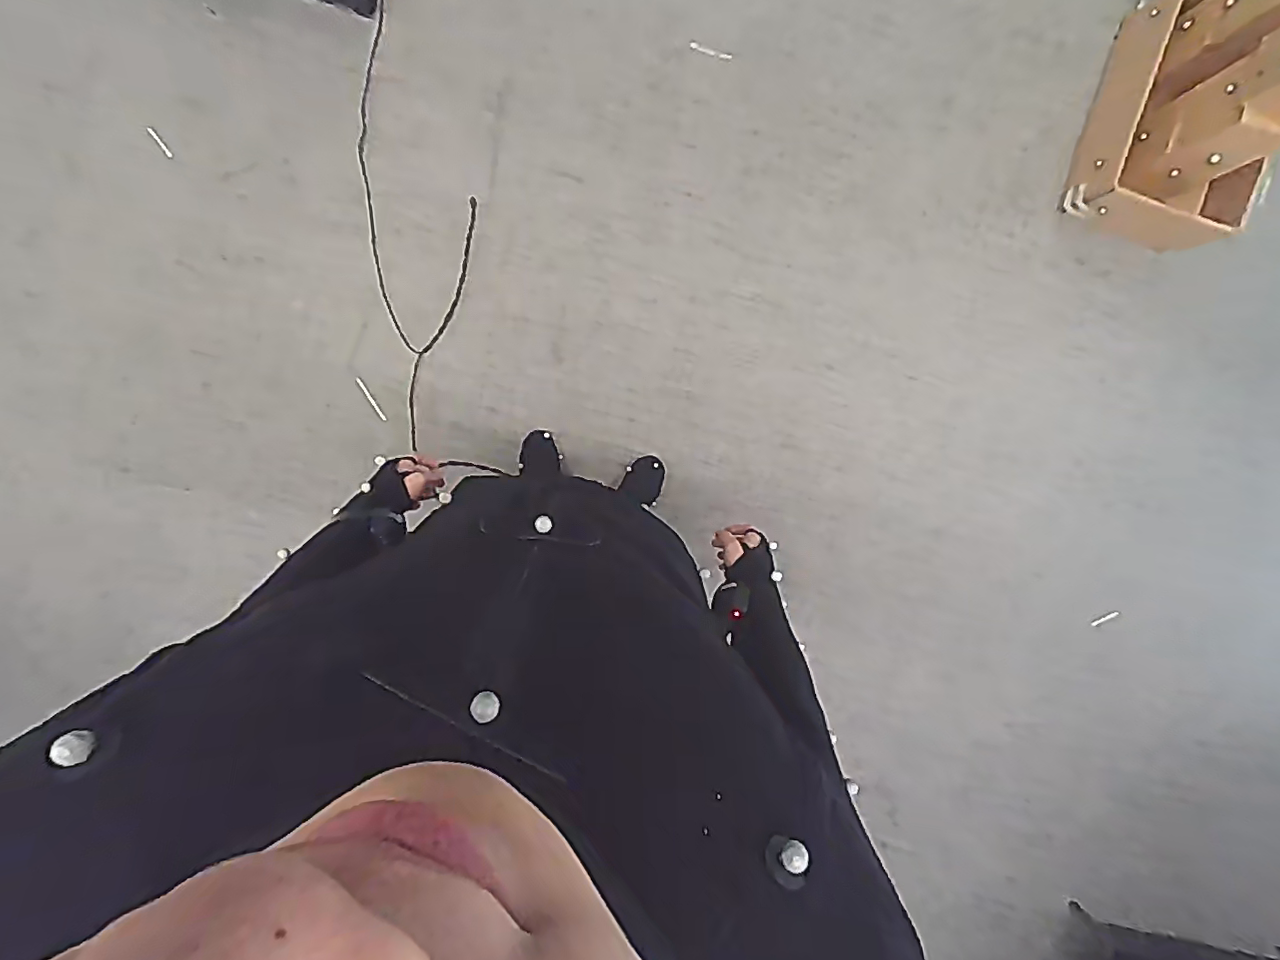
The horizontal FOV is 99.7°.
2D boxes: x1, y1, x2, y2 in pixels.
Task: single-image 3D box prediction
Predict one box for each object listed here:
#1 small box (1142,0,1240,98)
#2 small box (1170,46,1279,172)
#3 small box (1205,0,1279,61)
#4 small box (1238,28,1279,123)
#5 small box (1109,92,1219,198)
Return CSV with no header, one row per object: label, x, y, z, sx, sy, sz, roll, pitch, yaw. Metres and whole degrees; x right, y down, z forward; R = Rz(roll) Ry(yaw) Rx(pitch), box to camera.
small box,1.557,-1.189,1.490,0.179,0.176,0.168,15,95,-3
small box,1.486,-0.910,1.342,0.168,0.176,0.179,13,94,-3
small box,1.562,-1.174,1.324,0.168,0.176,0.179,15,95,-6
small box,1.491,-0.917,1.179,0.179,0.176,0.168,18,94,-4
small box,1.477,-0.922,1.507,0.179,0.176,0.168,18,93,-5
